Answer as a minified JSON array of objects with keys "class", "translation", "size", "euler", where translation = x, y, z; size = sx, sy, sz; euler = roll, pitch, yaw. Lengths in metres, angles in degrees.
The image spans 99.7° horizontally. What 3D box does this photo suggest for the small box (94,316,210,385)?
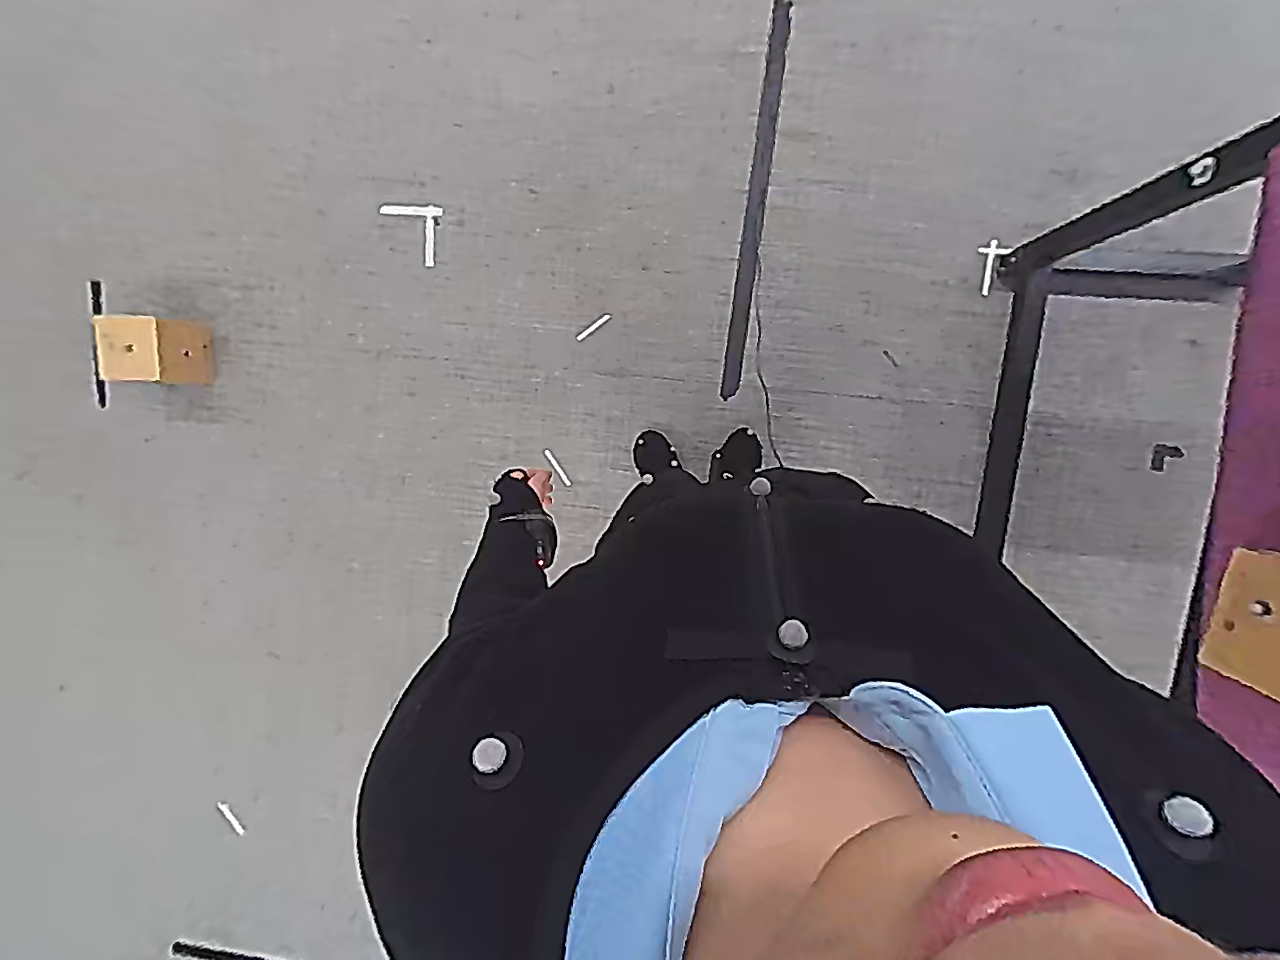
[{"class":"small box","translation":[-1.322,-0.350,1.479],"size":[0.179,0.176,0.168],"euler":[2,97,5]}]
